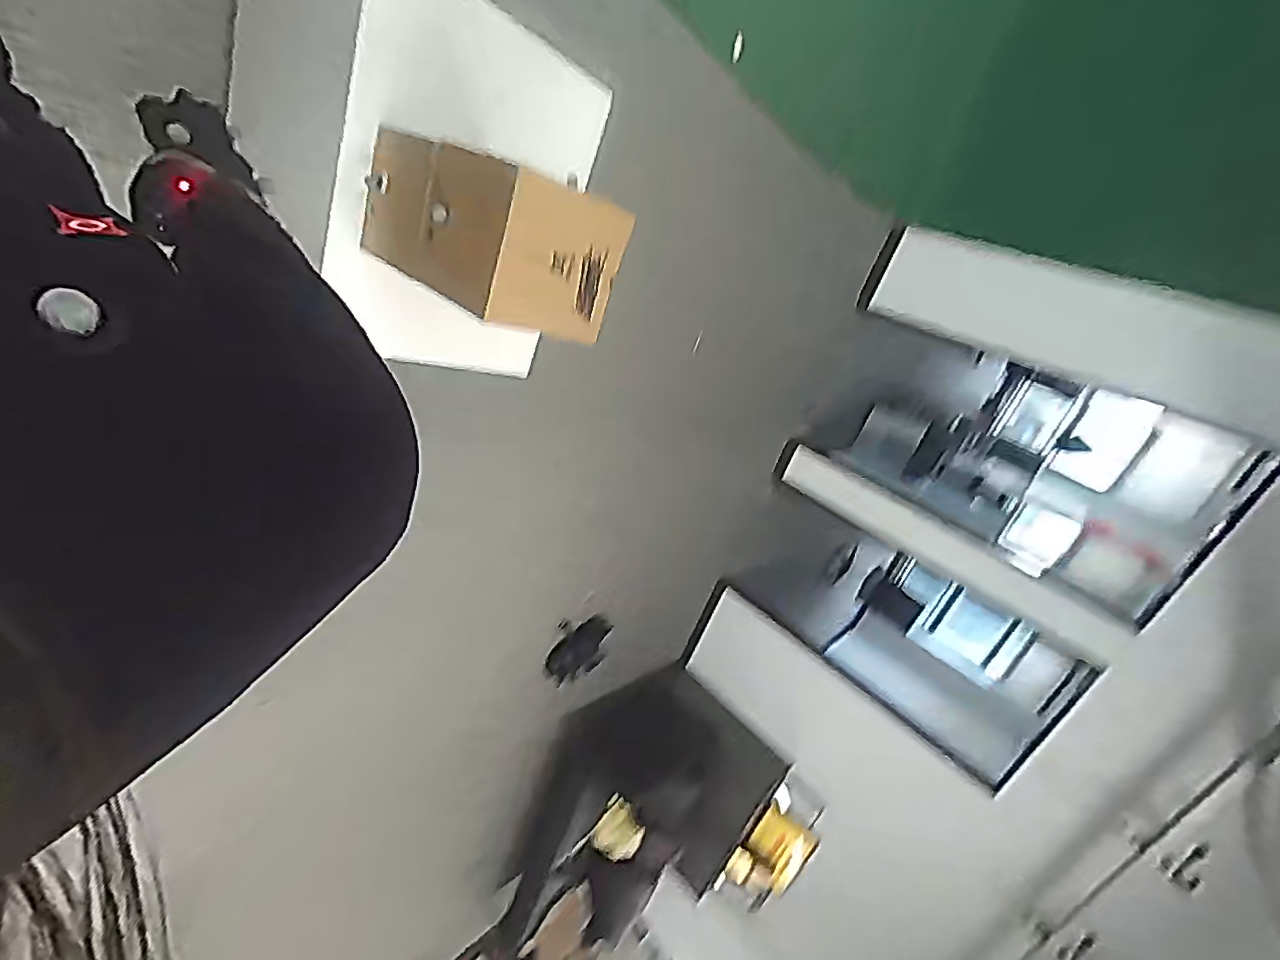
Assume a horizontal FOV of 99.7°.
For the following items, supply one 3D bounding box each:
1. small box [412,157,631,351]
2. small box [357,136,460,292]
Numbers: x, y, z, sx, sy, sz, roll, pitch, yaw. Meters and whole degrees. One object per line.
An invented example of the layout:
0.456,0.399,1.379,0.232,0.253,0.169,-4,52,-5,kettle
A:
-0.146,-0.271,0.661,0.179,0.176,0.168,-10,127,-49,small box
-0.261,-0.351,0.748,0.179,0.176,0.168,-5,123,-48,small box
